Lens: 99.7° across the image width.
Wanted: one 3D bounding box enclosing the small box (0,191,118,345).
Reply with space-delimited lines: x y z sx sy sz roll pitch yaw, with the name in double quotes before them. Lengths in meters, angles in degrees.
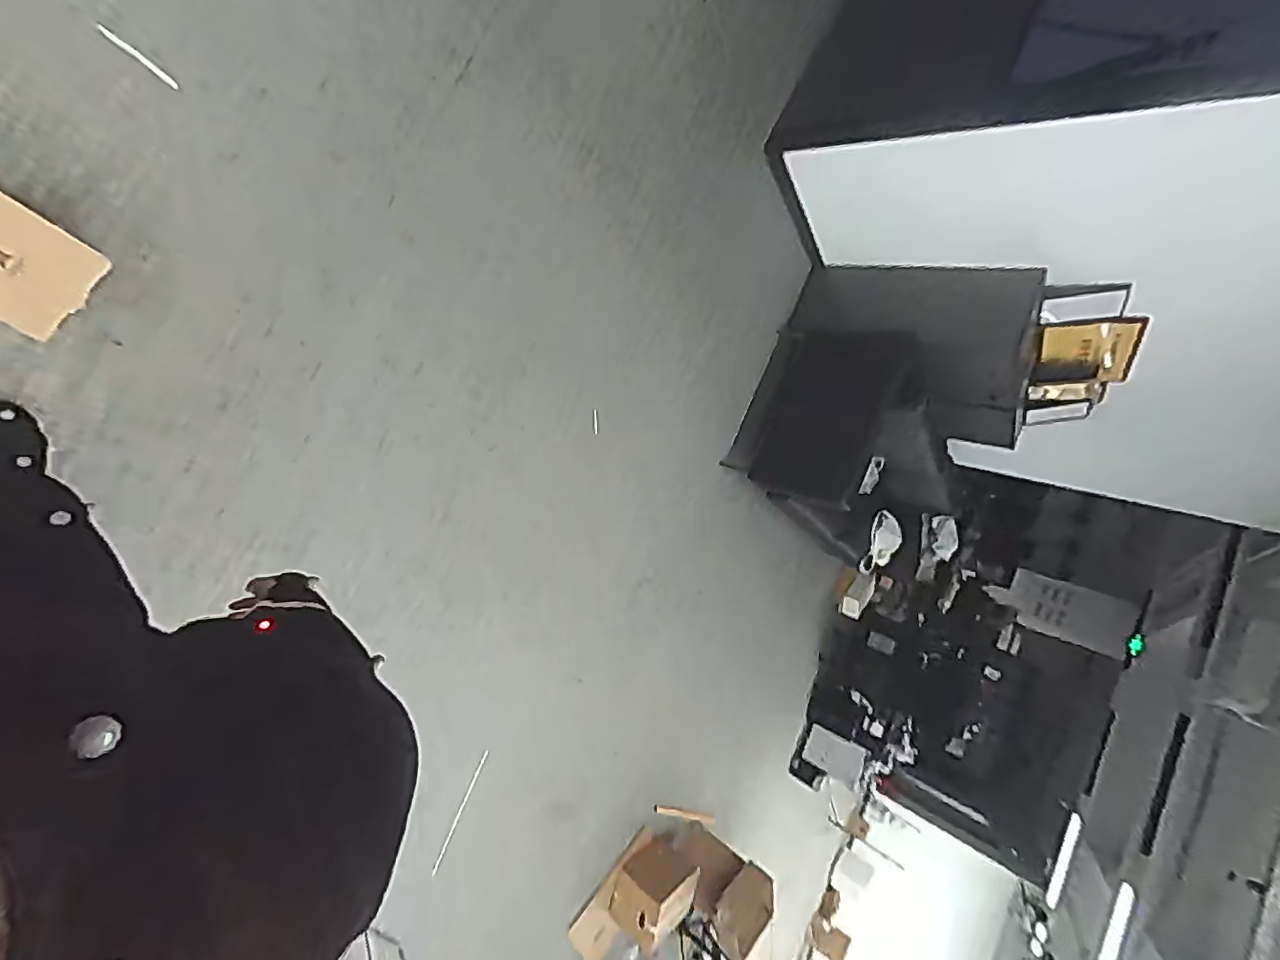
"small box" -0.987 -0.338 0.845 0.168 0.176 0.179 -62 142 -13
